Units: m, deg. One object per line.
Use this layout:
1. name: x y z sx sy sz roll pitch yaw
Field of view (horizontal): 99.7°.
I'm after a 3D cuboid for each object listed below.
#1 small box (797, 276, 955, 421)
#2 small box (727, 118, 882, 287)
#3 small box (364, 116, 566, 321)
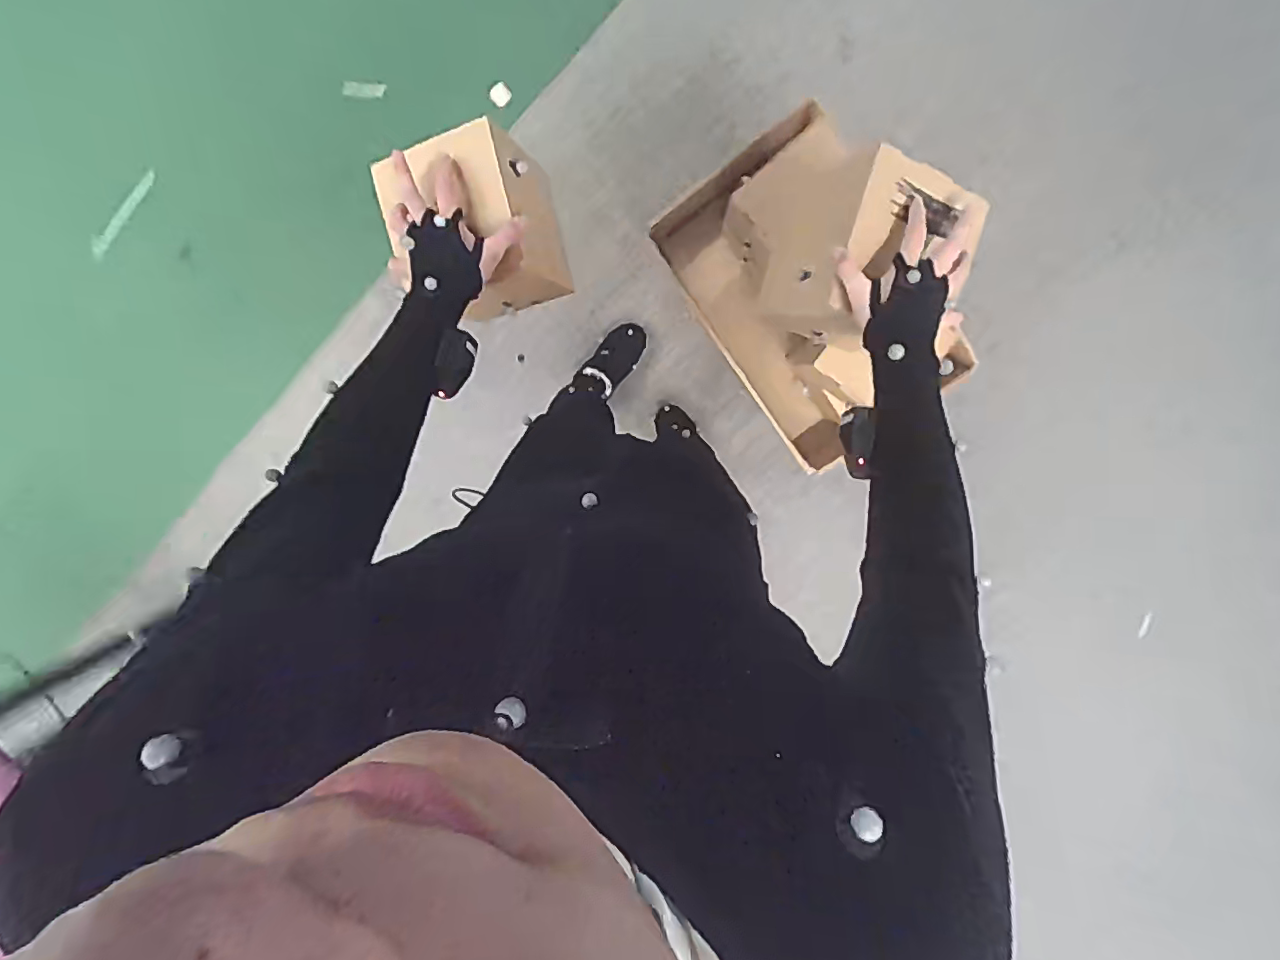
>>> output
1. small box: 0.401 -0.228 0.960 0.168 0.176 0.179 36 102 -5
2. small box: 0.266 -0.455 0.920 0.179 0.176 0.168 -37 98 11
3. small box: -0.219 -0.326 0.716 0.168 0.176 0.179 -13 97 16
